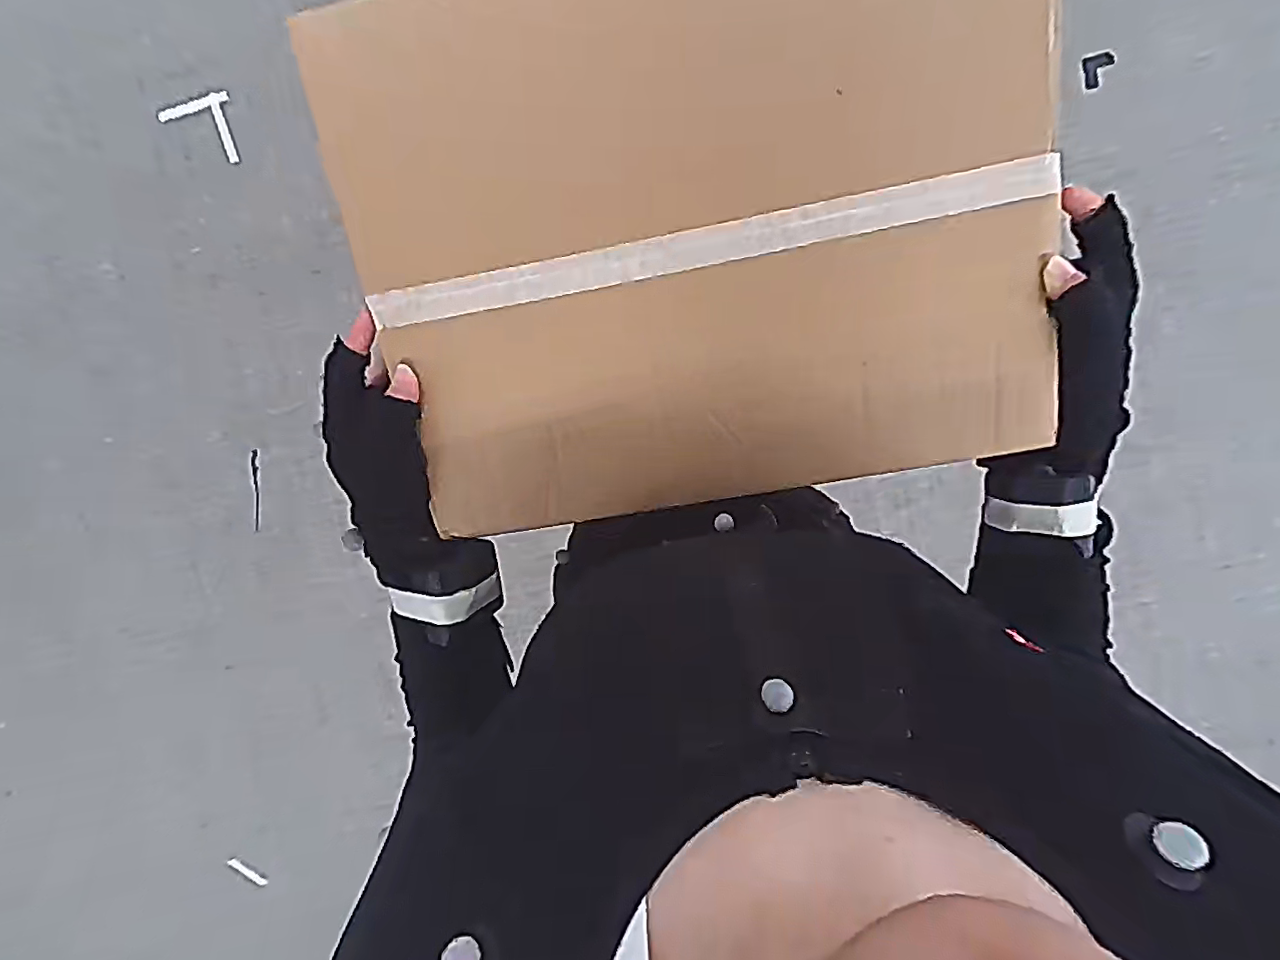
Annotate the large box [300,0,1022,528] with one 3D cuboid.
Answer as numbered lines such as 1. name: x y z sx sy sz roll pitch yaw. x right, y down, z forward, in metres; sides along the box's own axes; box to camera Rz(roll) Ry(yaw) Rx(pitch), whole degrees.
1. large box: 0.032 -0.184 0.473 0.408 0.320 0.320 -9 104 5
